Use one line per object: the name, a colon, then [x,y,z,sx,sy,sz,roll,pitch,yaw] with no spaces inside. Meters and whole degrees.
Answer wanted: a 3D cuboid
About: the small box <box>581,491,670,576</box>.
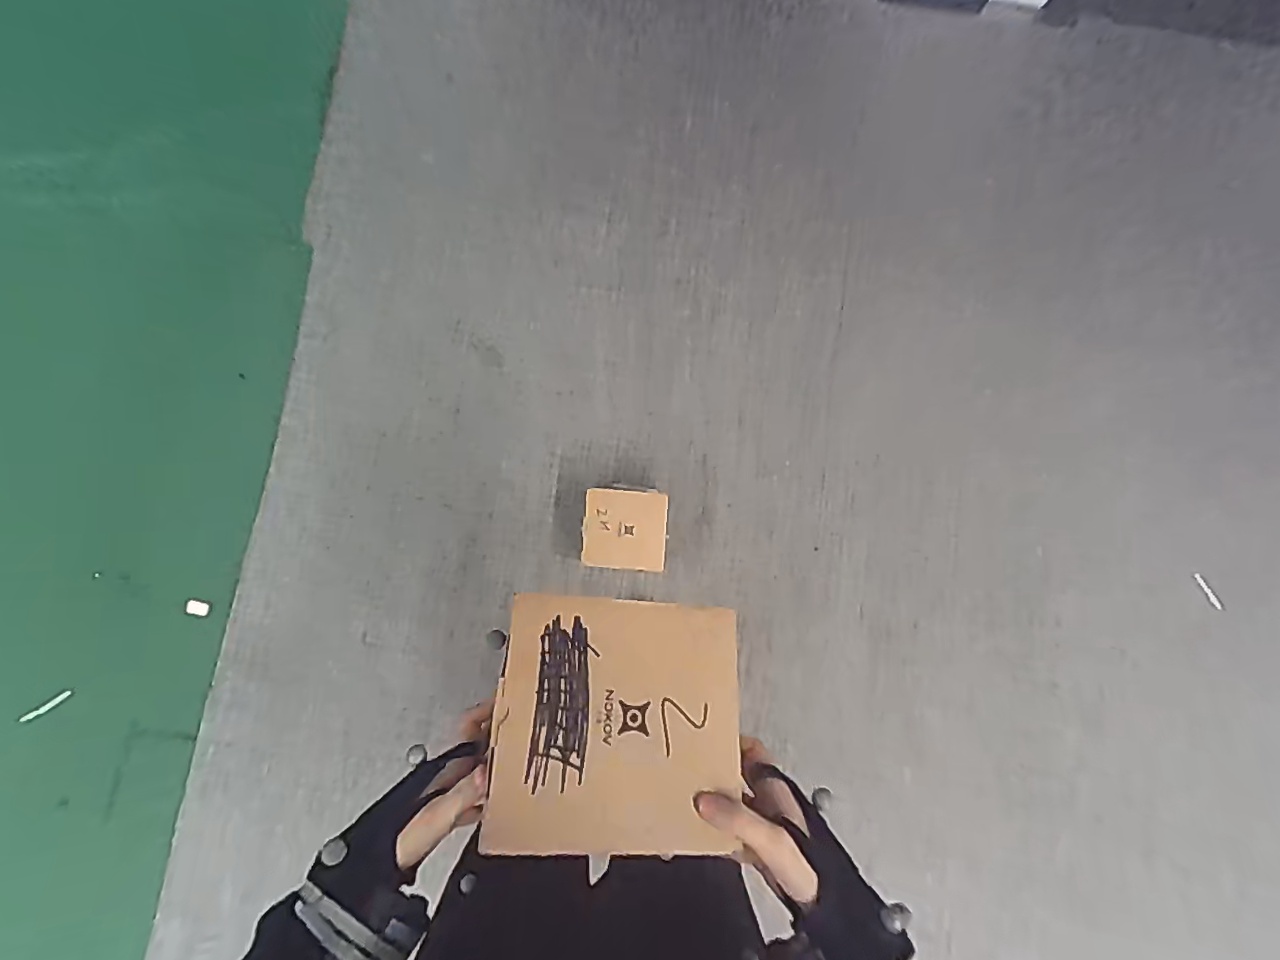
small box: [-0.032,0.119,1.204,0.179,0.176,0.168,5,83,-1]
